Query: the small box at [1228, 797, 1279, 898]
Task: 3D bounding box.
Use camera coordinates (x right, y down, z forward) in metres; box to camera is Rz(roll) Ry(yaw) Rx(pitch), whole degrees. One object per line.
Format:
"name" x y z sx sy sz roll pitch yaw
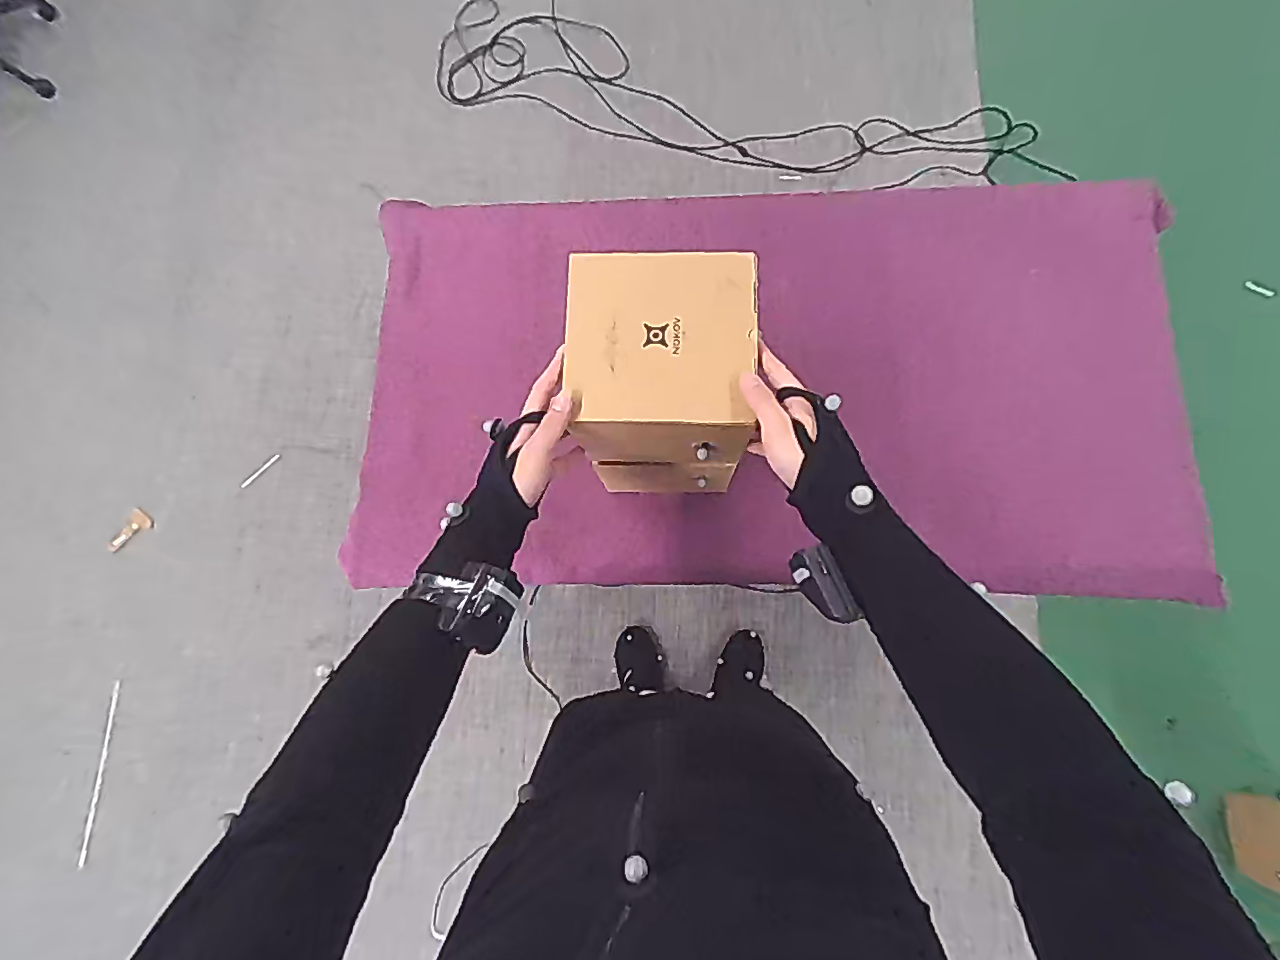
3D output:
"small box" 1.461 0.824 1.180 0.168 0.176 0.179 1 78 5

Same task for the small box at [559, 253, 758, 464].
"small box" 0.023 -0.115 0.568 0.179 0.176 0.168 2 79 5
